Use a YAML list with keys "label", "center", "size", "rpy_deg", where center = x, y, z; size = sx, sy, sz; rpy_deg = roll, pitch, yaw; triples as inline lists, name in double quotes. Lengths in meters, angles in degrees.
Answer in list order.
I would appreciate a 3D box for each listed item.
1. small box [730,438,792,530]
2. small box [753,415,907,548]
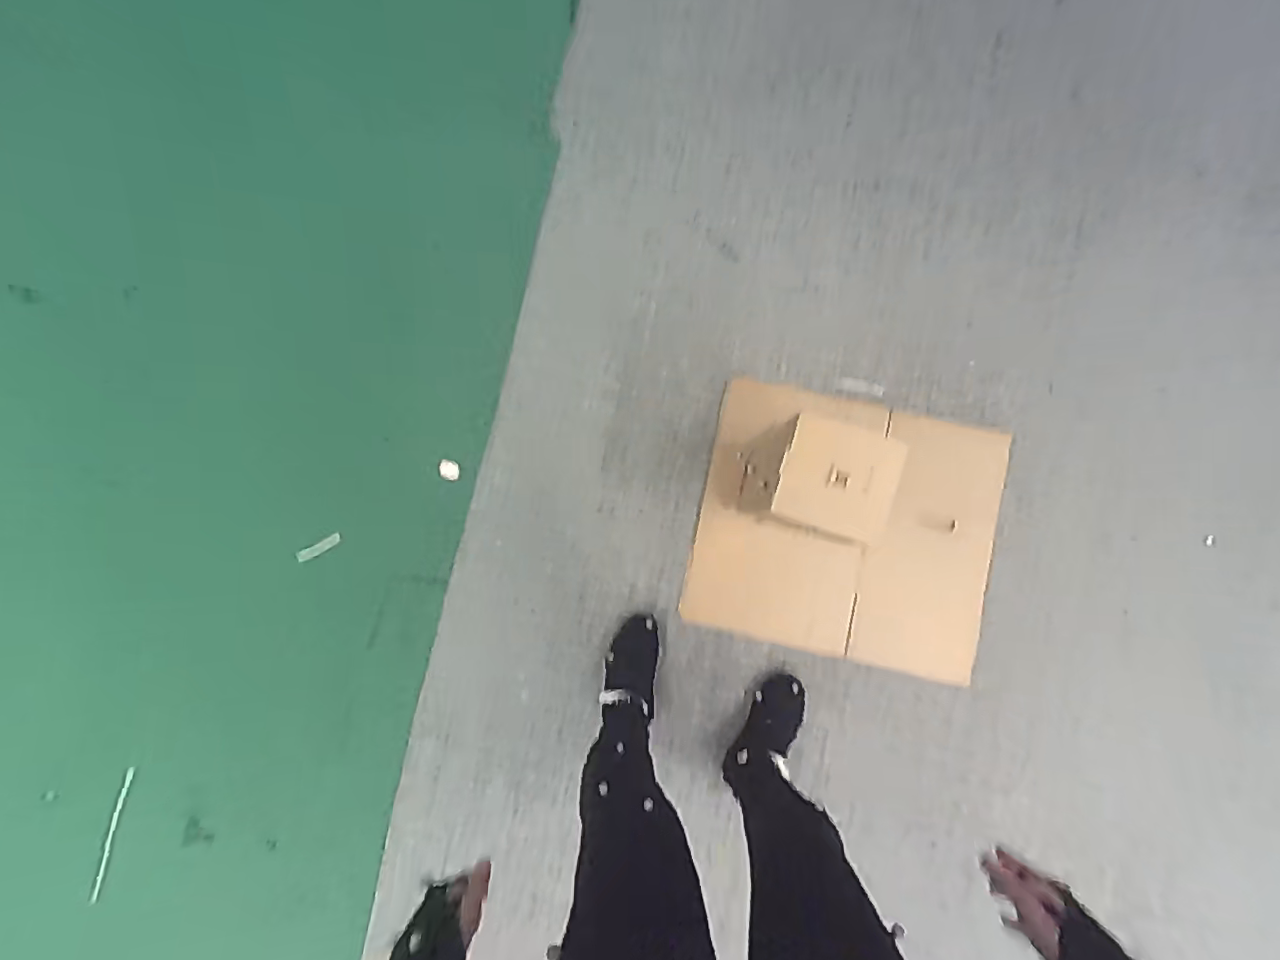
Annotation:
- label: "small box"
  center: [0.316, 0.017, 1.233]
  size: [0.179, 0.176, 0.168]
  rpy_deg: [17, 86, 3]
- label: "small box"
  center: [0.303, 0.008, 0.905]
  size: [0.179, 0.176, 0.168]
  rpy_deg: [19, 87, 3]
